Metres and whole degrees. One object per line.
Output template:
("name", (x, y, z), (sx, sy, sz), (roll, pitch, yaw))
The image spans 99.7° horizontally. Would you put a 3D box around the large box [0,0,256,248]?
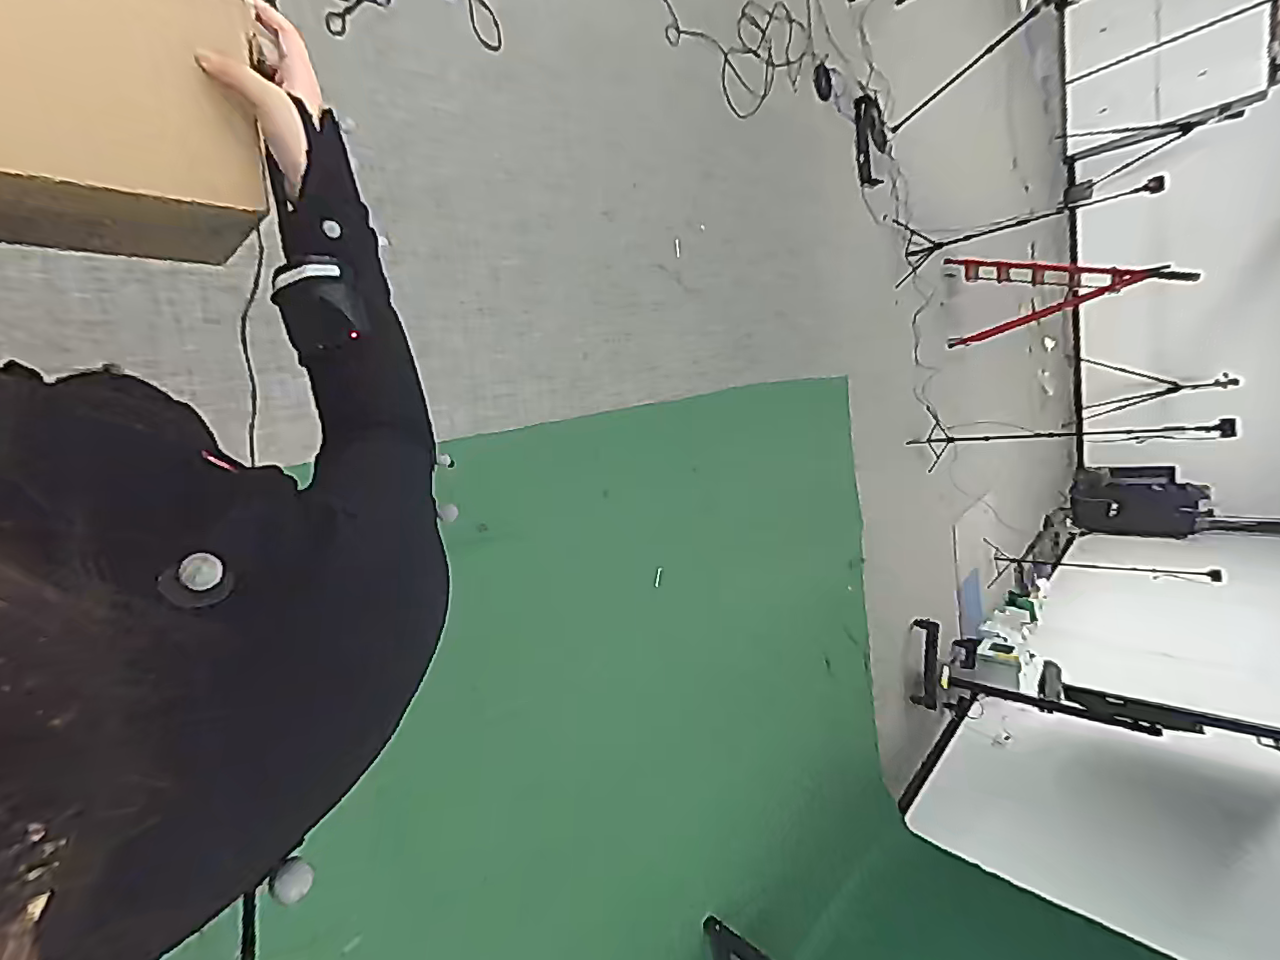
("large box", (-0.555, -0.366, 0.384), (0.408, 0.320, 0.320), (-11, 106, -40))
